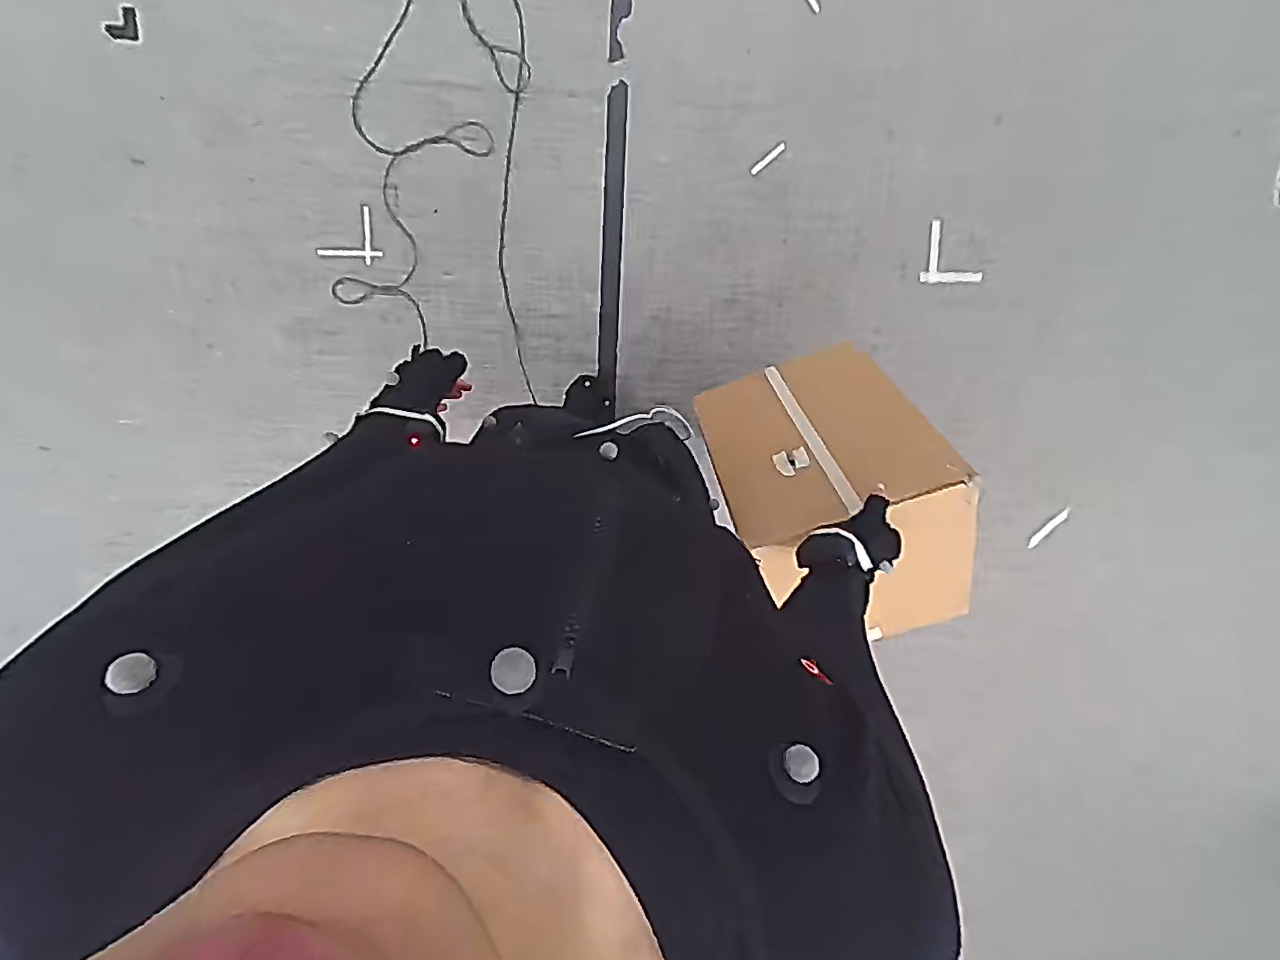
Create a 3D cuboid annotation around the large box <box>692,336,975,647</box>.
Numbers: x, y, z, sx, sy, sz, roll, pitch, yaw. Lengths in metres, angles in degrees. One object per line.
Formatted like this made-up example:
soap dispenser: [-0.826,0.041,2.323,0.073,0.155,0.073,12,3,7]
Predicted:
large box: [0.316,0.013,0.963,0.320,0.408,0.320,-21,131,8]
